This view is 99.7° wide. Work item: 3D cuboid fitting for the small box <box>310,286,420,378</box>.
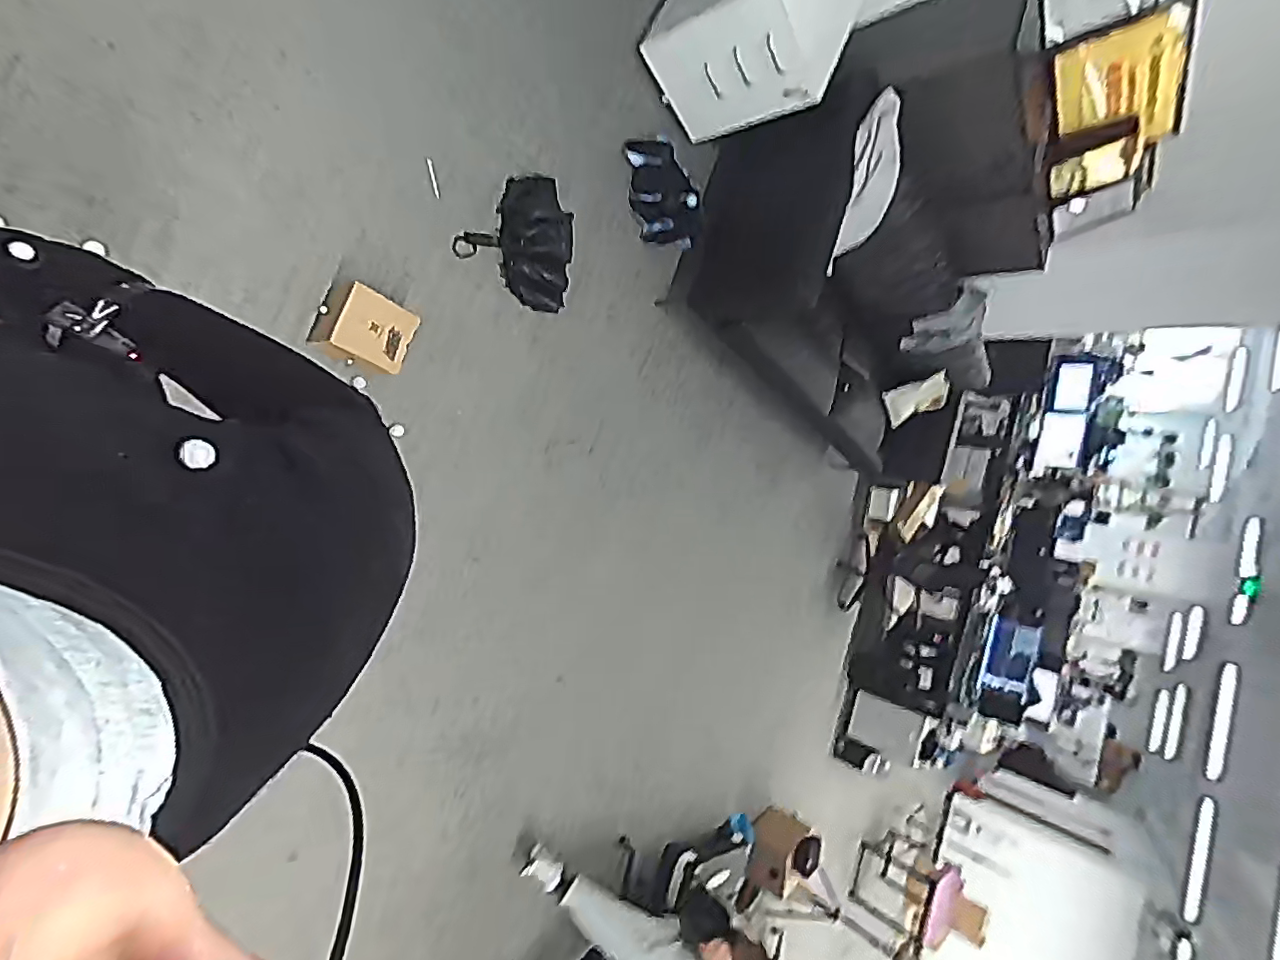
[{"bbox_3d":[-0.714,-0.379,1.402,0.179,0.176,0.168,28,77,-45],"label":"small box"}]
